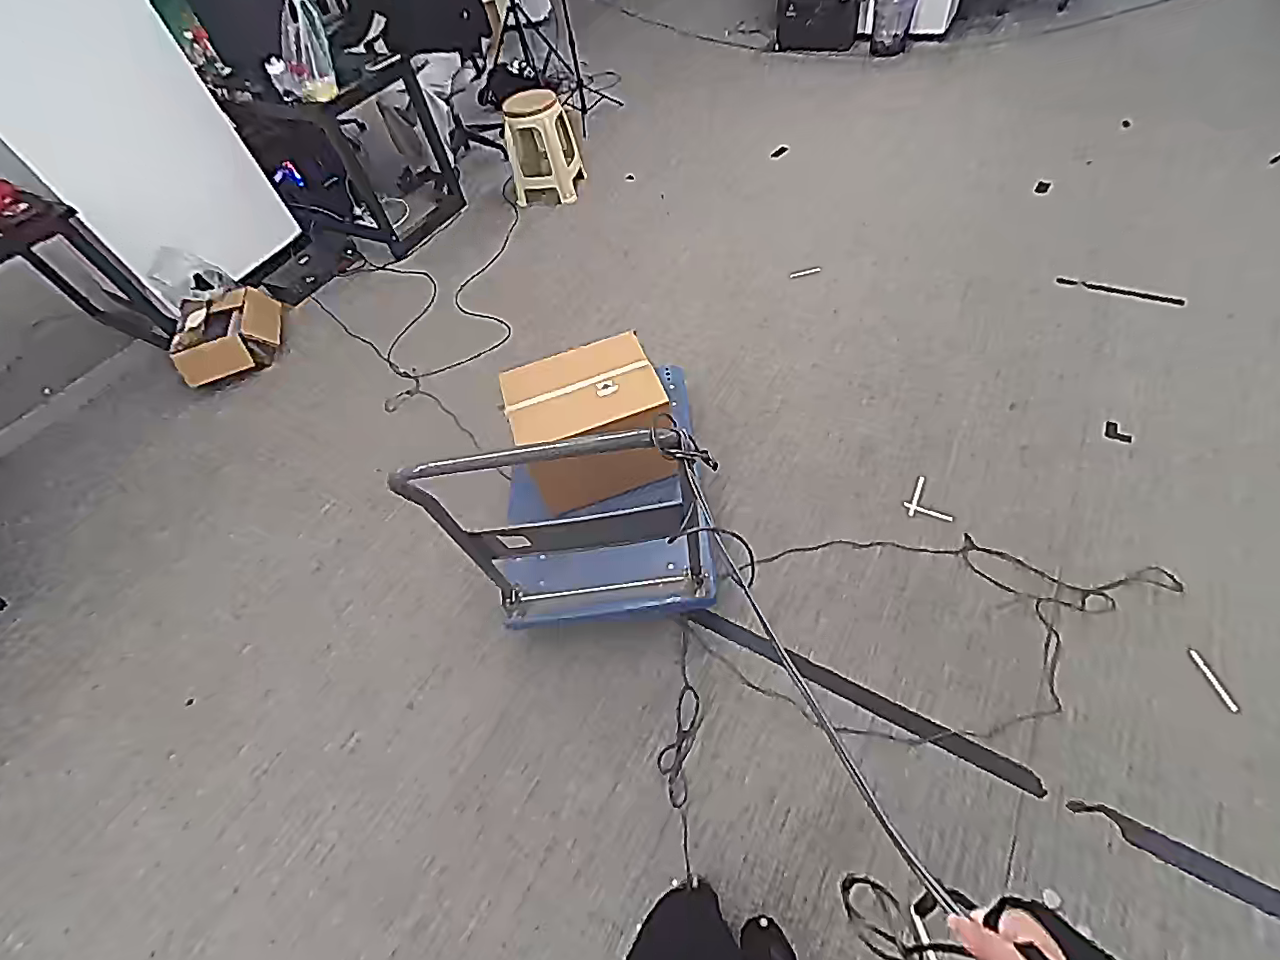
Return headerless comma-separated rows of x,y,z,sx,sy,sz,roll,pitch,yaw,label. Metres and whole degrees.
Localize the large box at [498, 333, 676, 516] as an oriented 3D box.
-0.143,-0.154,1.548,0.408,0.320,0.320,-19,55,-5,large box
